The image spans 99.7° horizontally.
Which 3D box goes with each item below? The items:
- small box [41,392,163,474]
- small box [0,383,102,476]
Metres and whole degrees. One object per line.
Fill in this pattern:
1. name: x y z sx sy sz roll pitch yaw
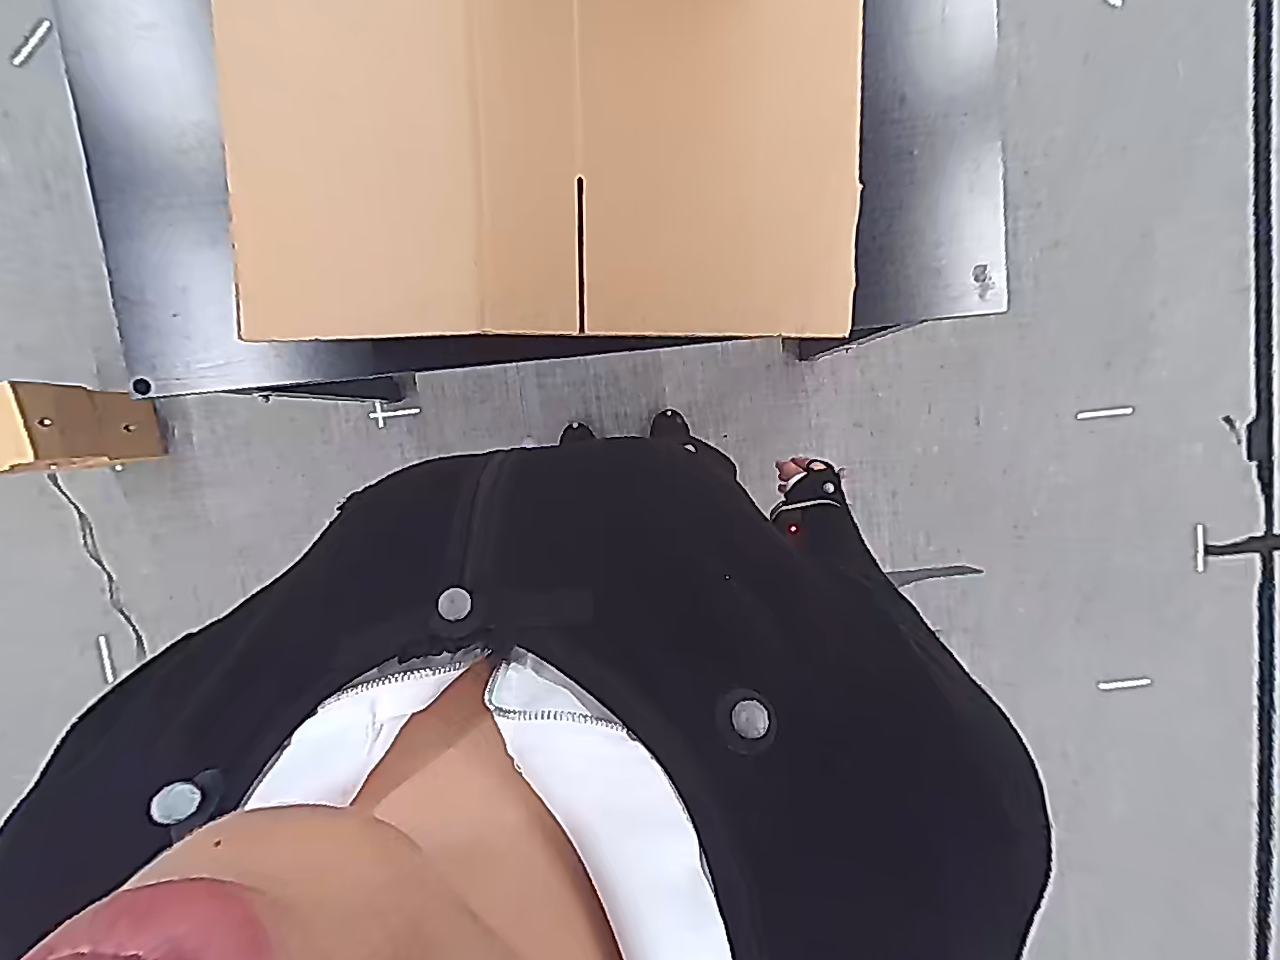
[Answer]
1. small box: -1.375 -0.119 1.370 0.168 0.176 0.179 -10 96 0
2. small box: -1.374 -0.109 1.208 0.168 0.176 0.179 -13 95 -1
